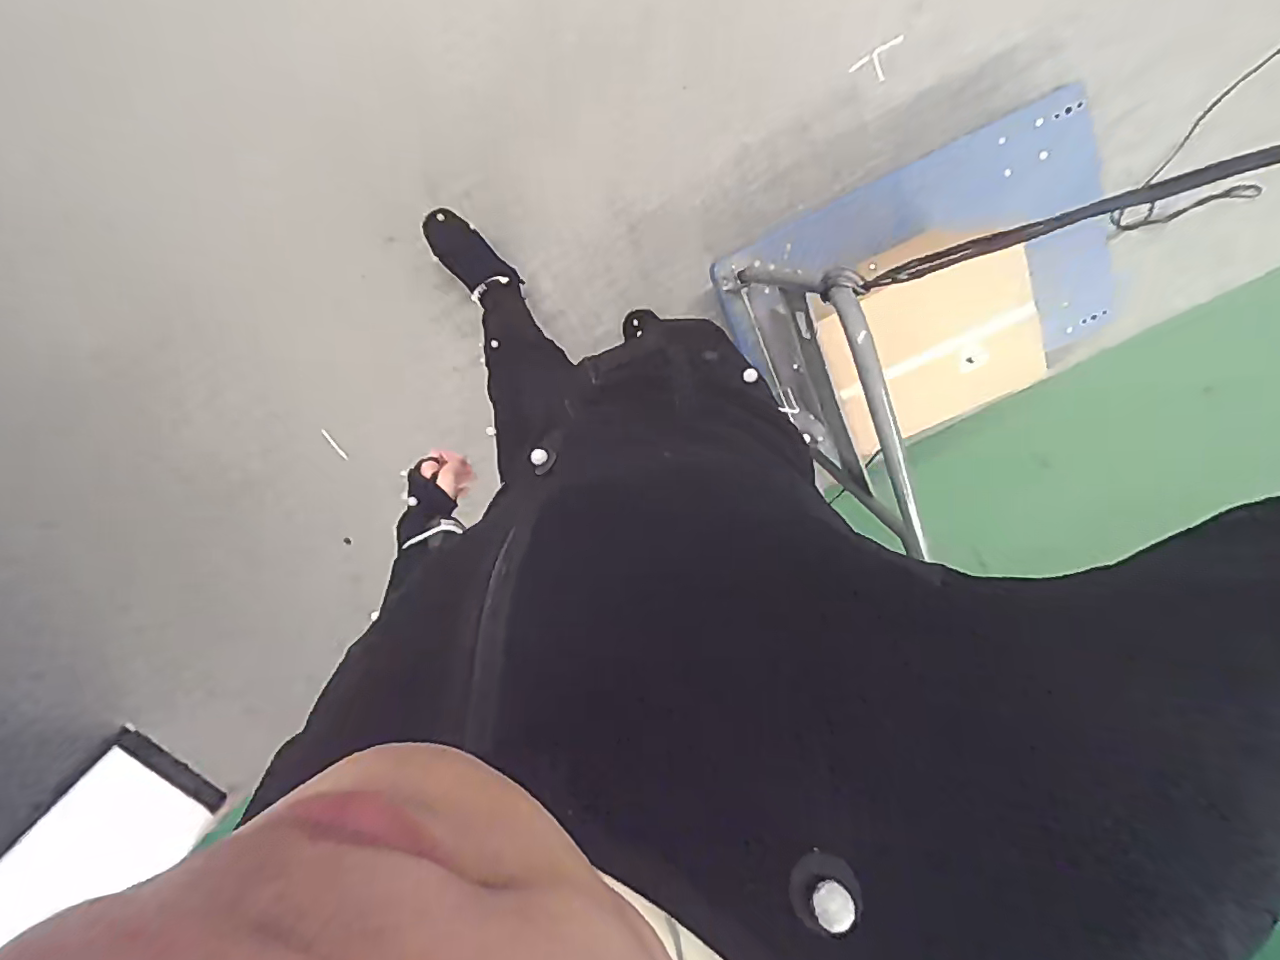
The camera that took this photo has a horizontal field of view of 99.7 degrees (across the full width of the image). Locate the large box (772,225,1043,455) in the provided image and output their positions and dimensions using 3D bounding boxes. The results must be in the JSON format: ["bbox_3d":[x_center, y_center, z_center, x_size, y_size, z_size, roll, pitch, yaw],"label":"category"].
[{"bbox_3d":[0.564,-0.313,1.198,0.408,0.320,0.320,-24,113,8],"label":"large box"}]
